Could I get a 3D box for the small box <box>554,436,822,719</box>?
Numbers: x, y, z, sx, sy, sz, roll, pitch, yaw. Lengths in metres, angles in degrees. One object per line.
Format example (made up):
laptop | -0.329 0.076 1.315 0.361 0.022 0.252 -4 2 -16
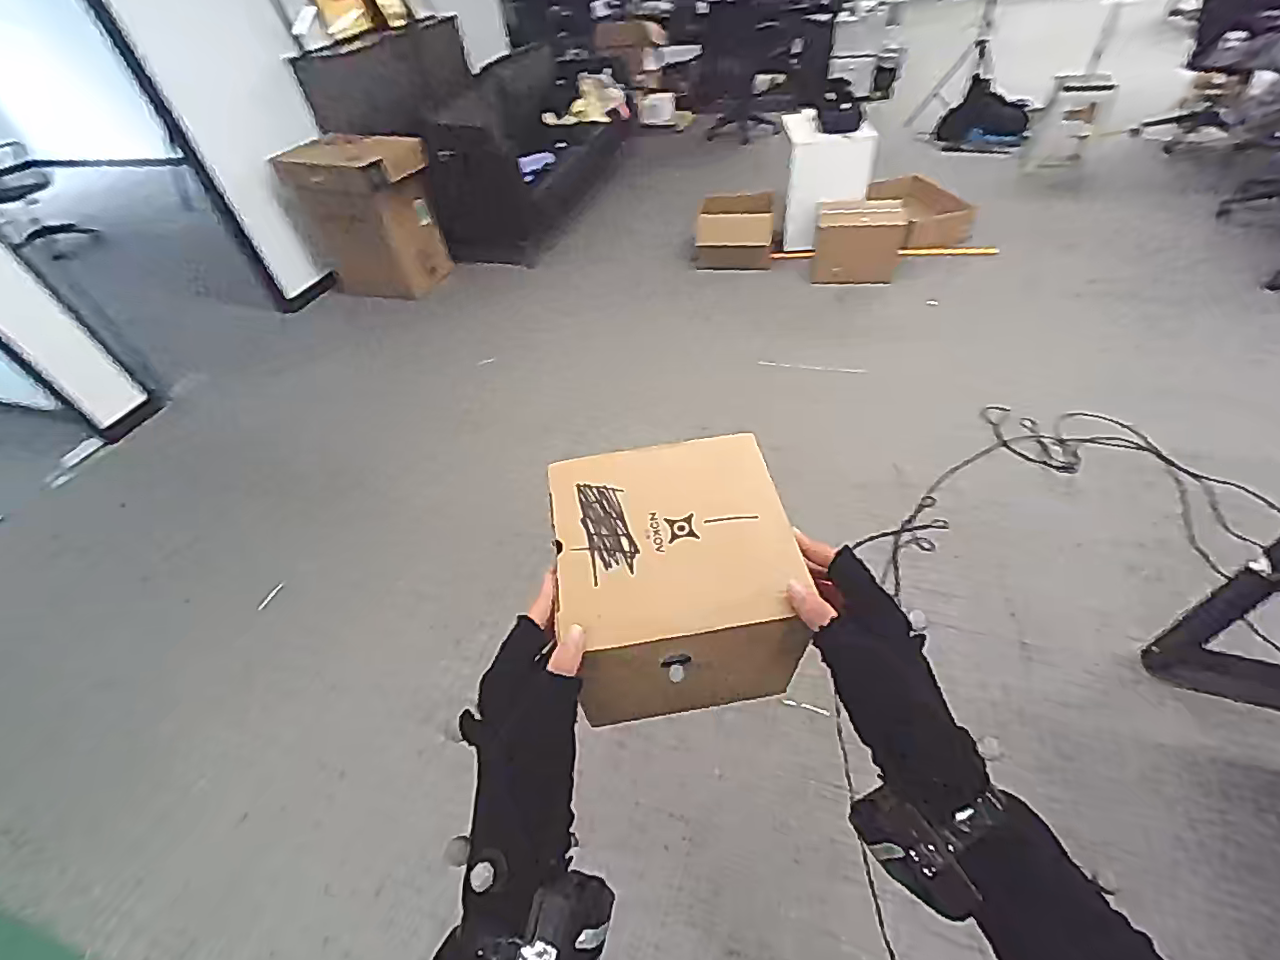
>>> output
small box | 0.031 0.088 0.461 0.179 0.176 0.168 -8 51 -2
